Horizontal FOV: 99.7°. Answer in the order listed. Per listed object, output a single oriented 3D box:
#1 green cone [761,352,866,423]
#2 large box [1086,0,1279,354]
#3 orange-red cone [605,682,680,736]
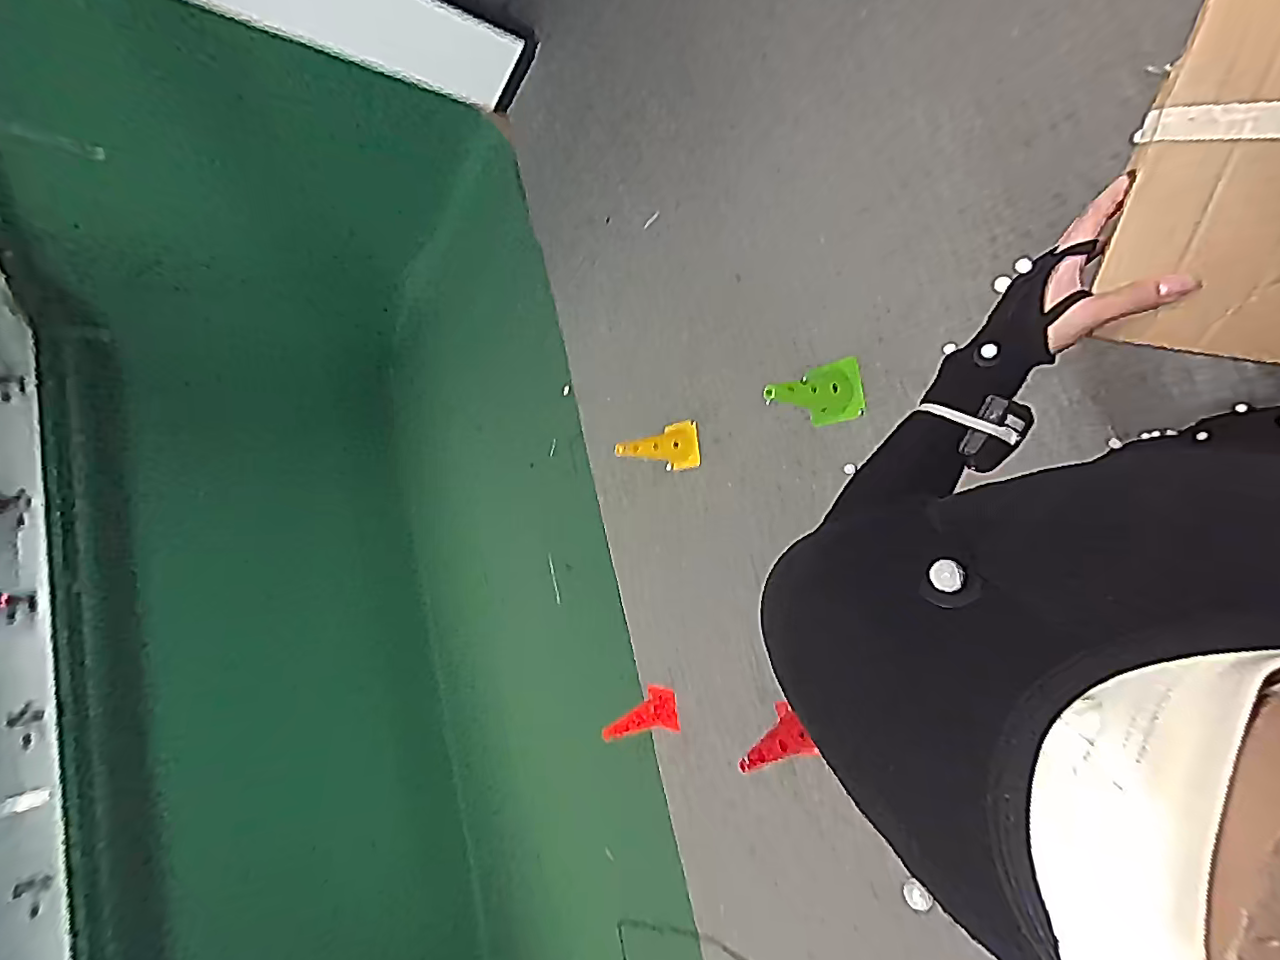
[{"bbox_3d":[0.515,-0.291,1.701,0.202,0.368,0.200,-15,83,52],"label":"green cone"},{"bbox_3d":[0.639,-0.258,0.412,0.408,0.320,0.320,20,120,33],"label":"large box"},{"bbox_3d":[-0.010,1.119,2.539,0.198,0.360,0.199,-12,87,51],"label":"orange-red cone"}]
